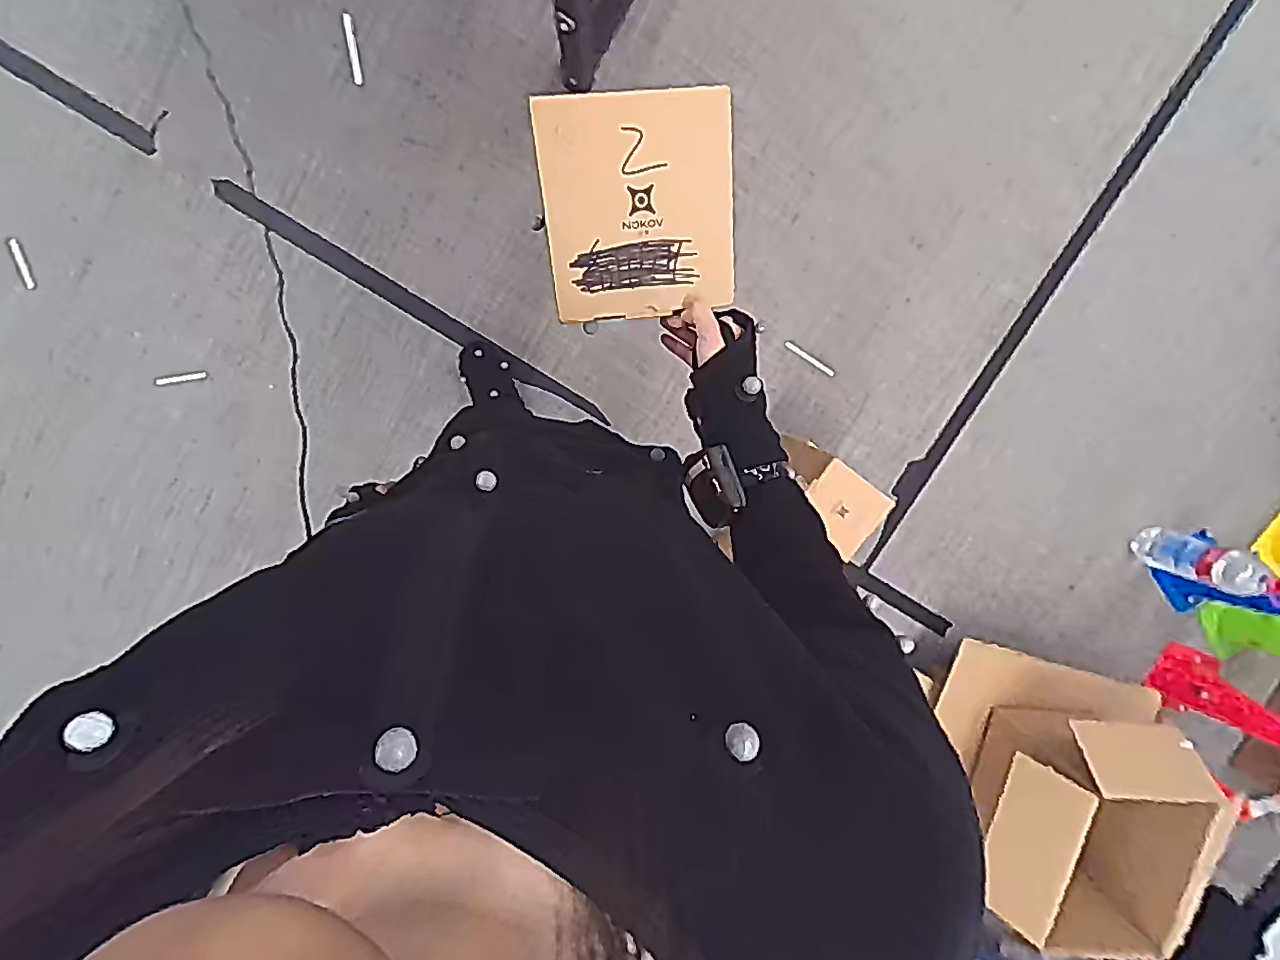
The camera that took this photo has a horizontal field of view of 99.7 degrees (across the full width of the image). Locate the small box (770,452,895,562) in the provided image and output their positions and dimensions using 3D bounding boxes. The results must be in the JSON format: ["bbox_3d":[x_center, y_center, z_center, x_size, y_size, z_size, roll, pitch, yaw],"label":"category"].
[{"bbox_3d":[0.423,0.051,1.222,0.179,0.176,0.168,34,99,-11],"label":"small box"}]

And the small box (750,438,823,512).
[{"bbox_3d":[0.407,0.011,1.379,0.168,0.176,0.179,36,97,-10],"label":"small box"}]
